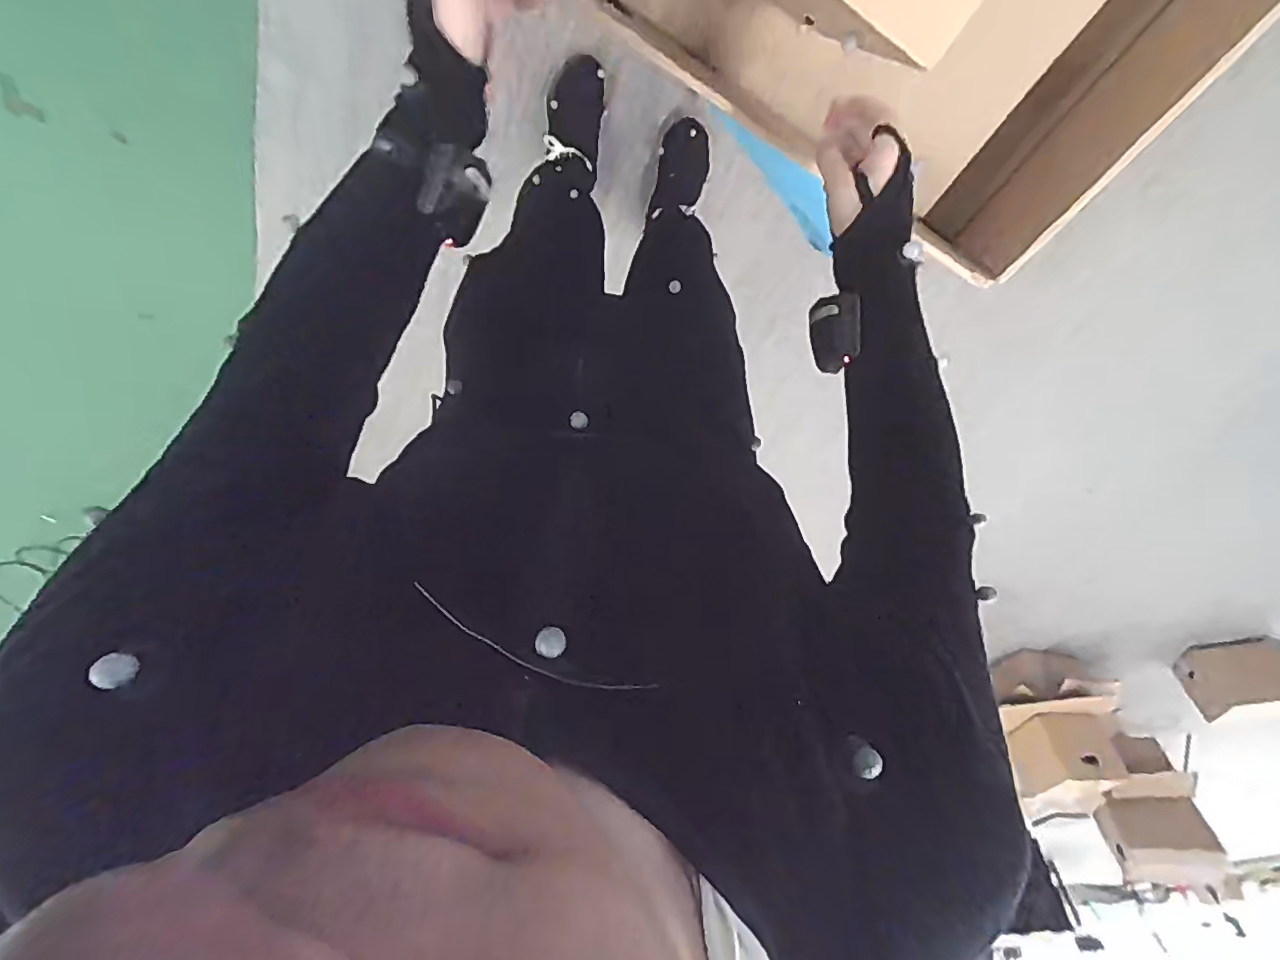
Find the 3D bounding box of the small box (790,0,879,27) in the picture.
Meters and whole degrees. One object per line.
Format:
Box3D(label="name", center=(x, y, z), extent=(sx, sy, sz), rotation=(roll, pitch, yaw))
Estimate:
Box3D(label="small box", center=(0.154, -0.535, 0.461), extent=(0.179, 0.176, 0.168), rotation=(19, 131, -21))
